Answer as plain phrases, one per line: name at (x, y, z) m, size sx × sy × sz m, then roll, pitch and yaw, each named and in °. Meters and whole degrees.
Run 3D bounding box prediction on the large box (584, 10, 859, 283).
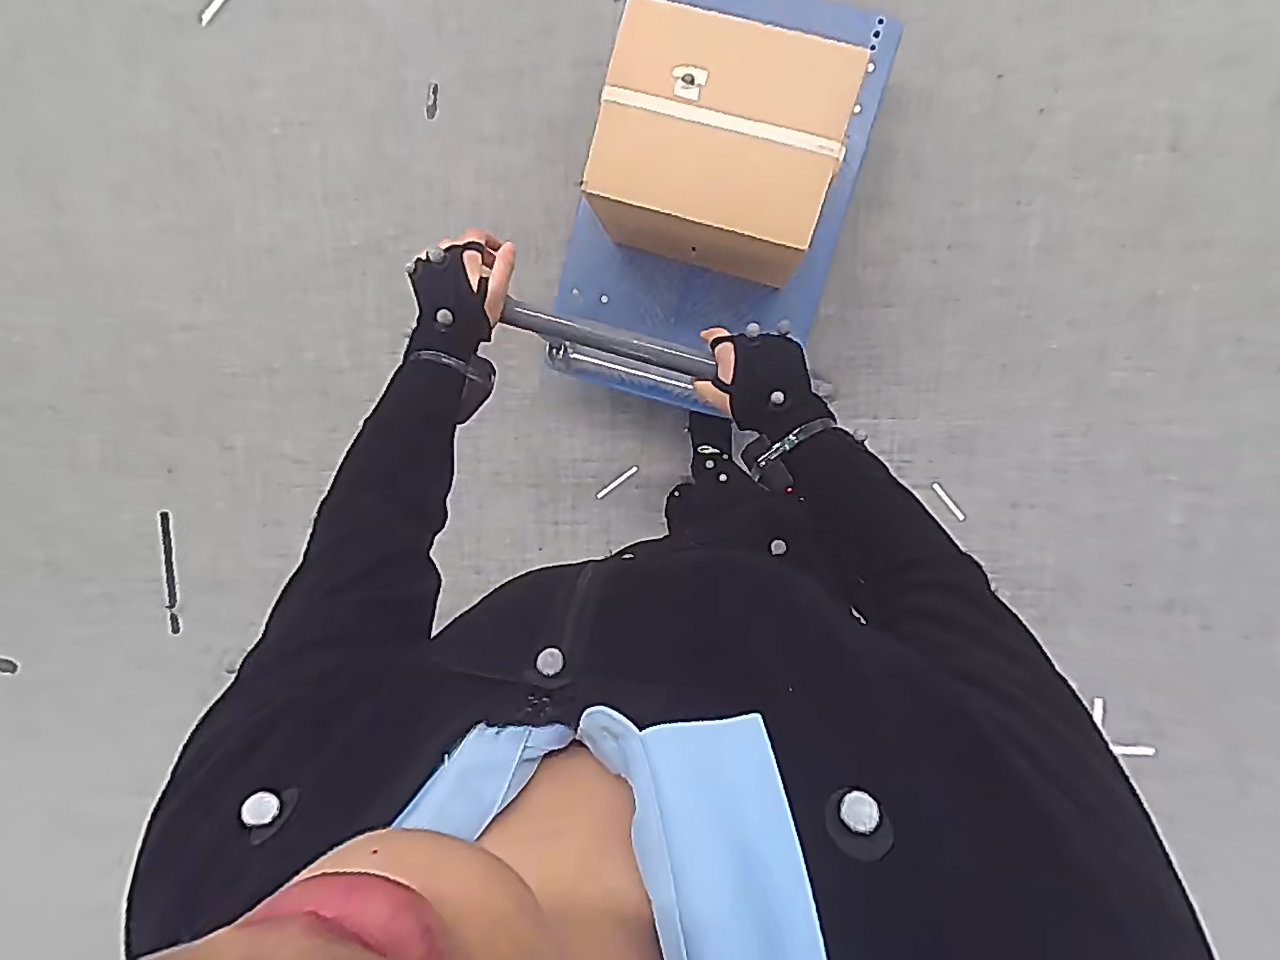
large box at (0.150, -0.613, 1.060) m, size 0.408 × 0.320 × 0.320 m, roll 17°, pitch 99°, yaw 6°
